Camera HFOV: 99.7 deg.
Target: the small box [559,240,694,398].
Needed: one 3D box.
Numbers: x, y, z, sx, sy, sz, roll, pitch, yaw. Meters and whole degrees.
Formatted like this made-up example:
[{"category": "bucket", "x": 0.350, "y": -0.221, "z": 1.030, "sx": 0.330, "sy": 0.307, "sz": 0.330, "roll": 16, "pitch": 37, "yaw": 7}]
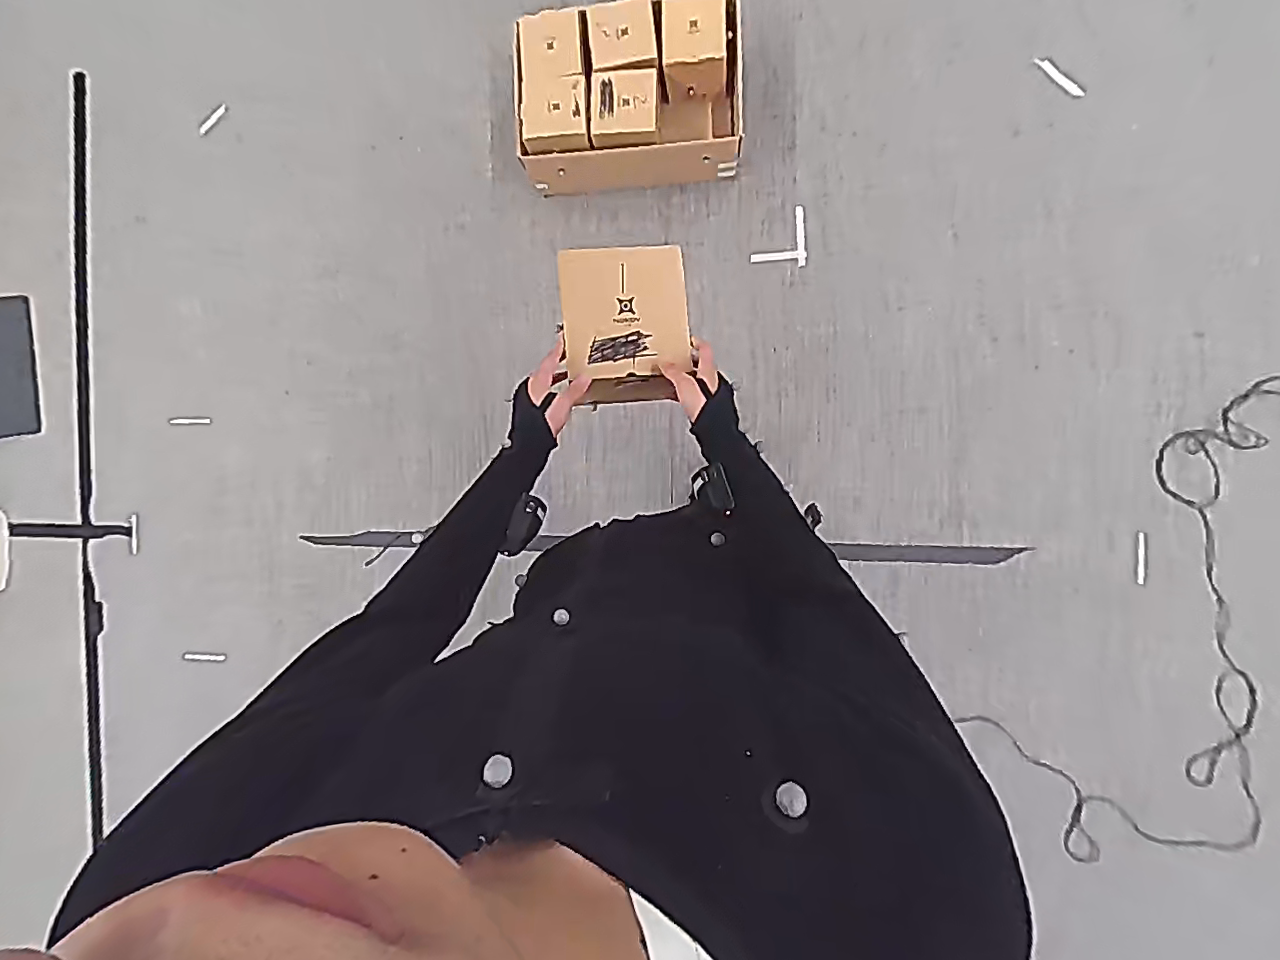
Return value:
[{"category": "small box", "x": -0.023, "y": -0.216, "z": 0.770, "sx": 0.168, "sy": 0.176, "sz": 0.179, "roll": -5, "pitch": 87, "yaw": -6}]
